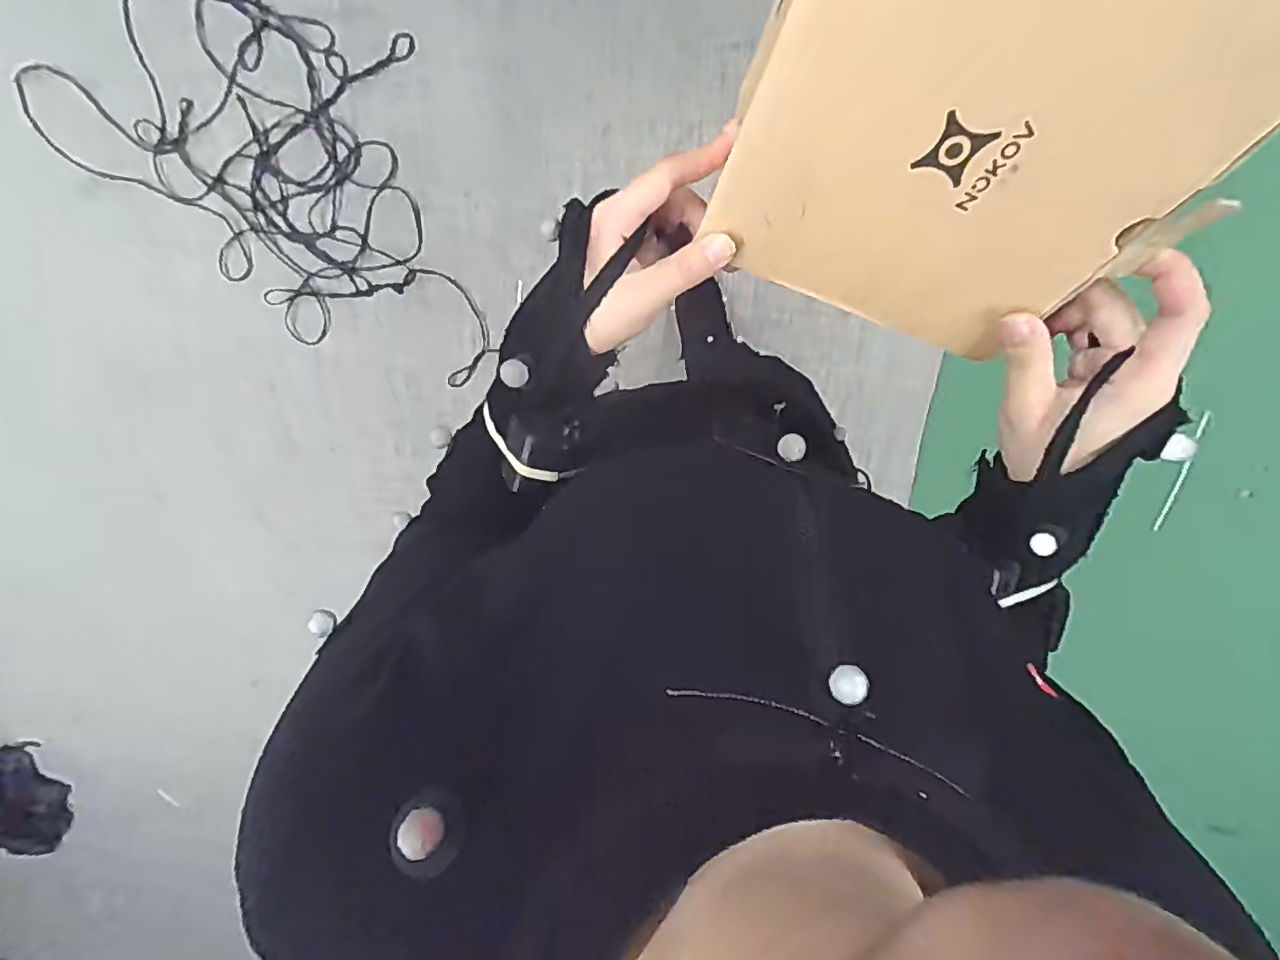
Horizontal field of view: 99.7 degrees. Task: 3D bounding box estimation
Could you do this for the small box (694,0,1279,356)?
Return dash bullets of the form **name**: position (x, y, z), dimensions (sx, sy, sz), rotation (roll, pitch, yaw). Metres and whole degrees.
- **small box**: position (0.145, -0.197, 0.255), dimensions (0.179, 0.176, 0.168), rotation (18, 147, -6)
